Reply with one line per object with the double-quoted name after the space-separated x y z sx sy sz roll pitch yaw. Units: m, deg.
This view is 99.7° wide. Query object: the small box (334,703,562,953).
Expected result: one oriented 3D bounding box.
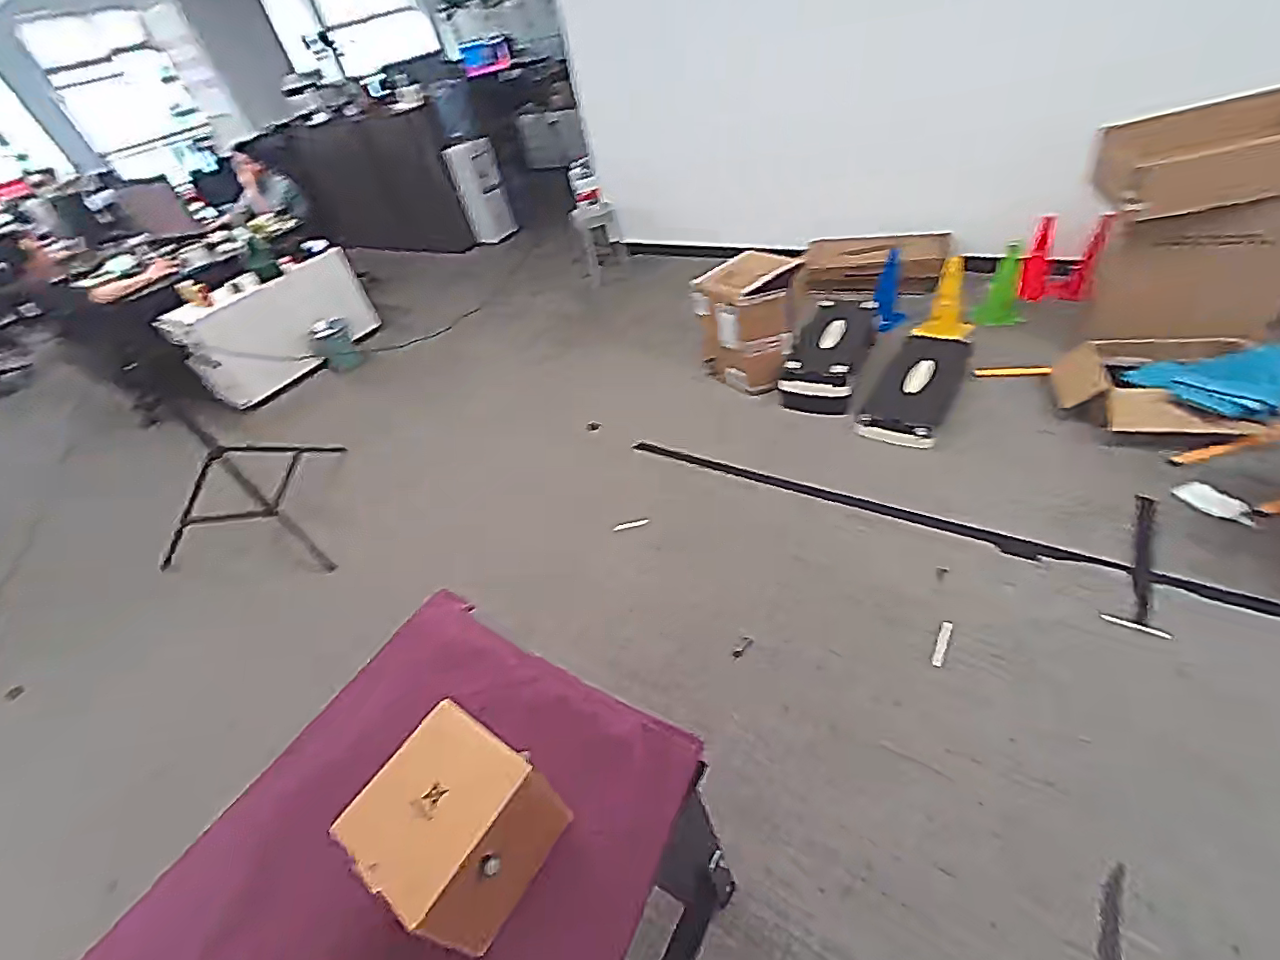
-0.215 0.418 0.657 0.168 0.176 0.179 18 52 33 "small box"
